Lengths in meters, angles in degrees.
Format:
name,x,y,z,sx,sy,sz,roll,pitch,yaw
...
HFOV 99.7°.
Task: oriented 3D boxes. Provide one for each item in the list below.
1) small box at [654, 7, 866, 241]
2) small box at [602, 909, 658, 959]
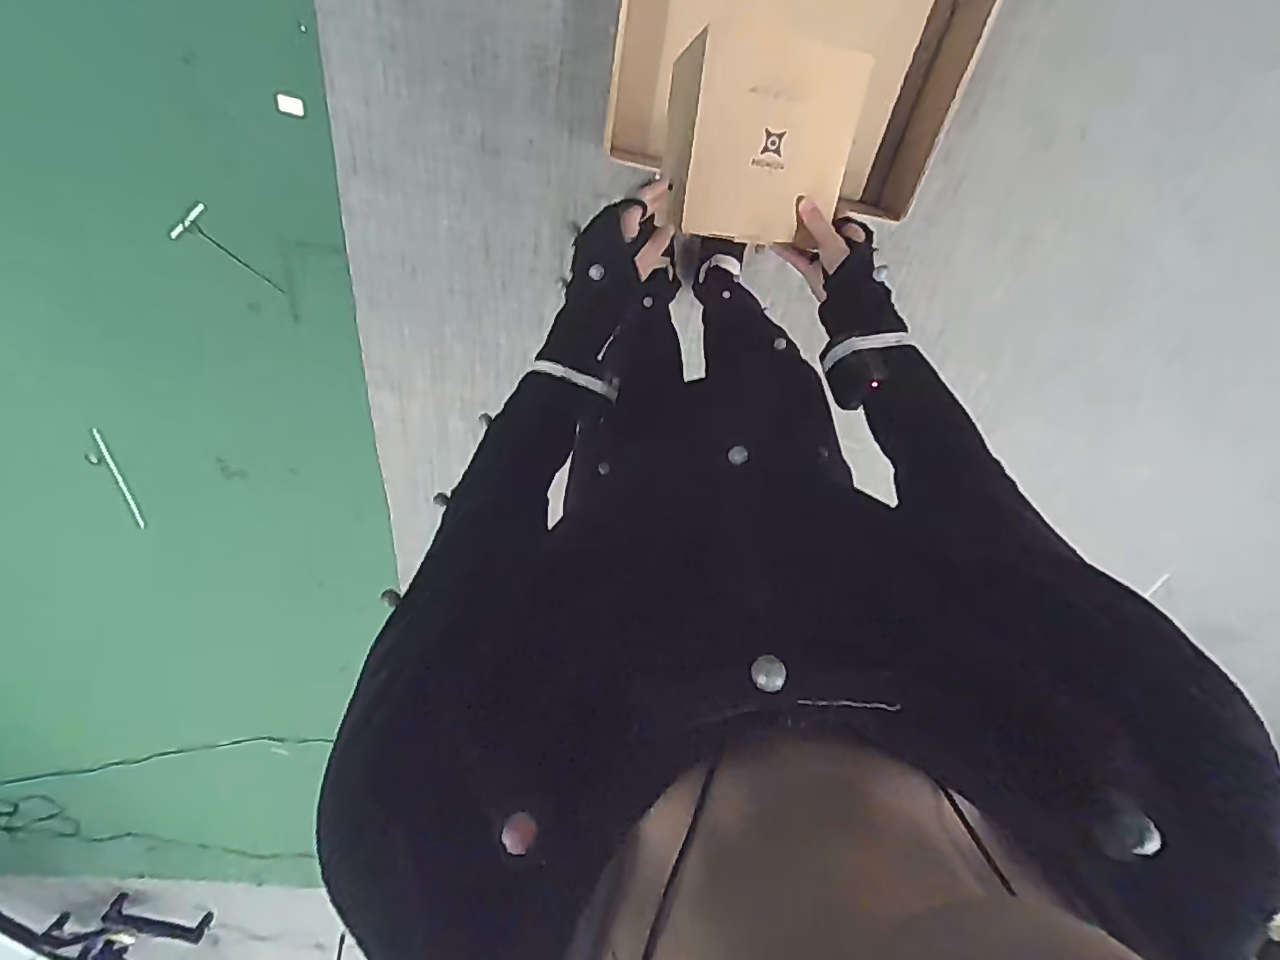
name,x,y,z,sx,sy,sz,roll,pitch,yaw
small box,0.113,-0.377,0.600,0.168,0.176,0.179,3,118,-10
small box,-0.034,1.623,1.875,0.168,0.176,0.179,11,126,-9
